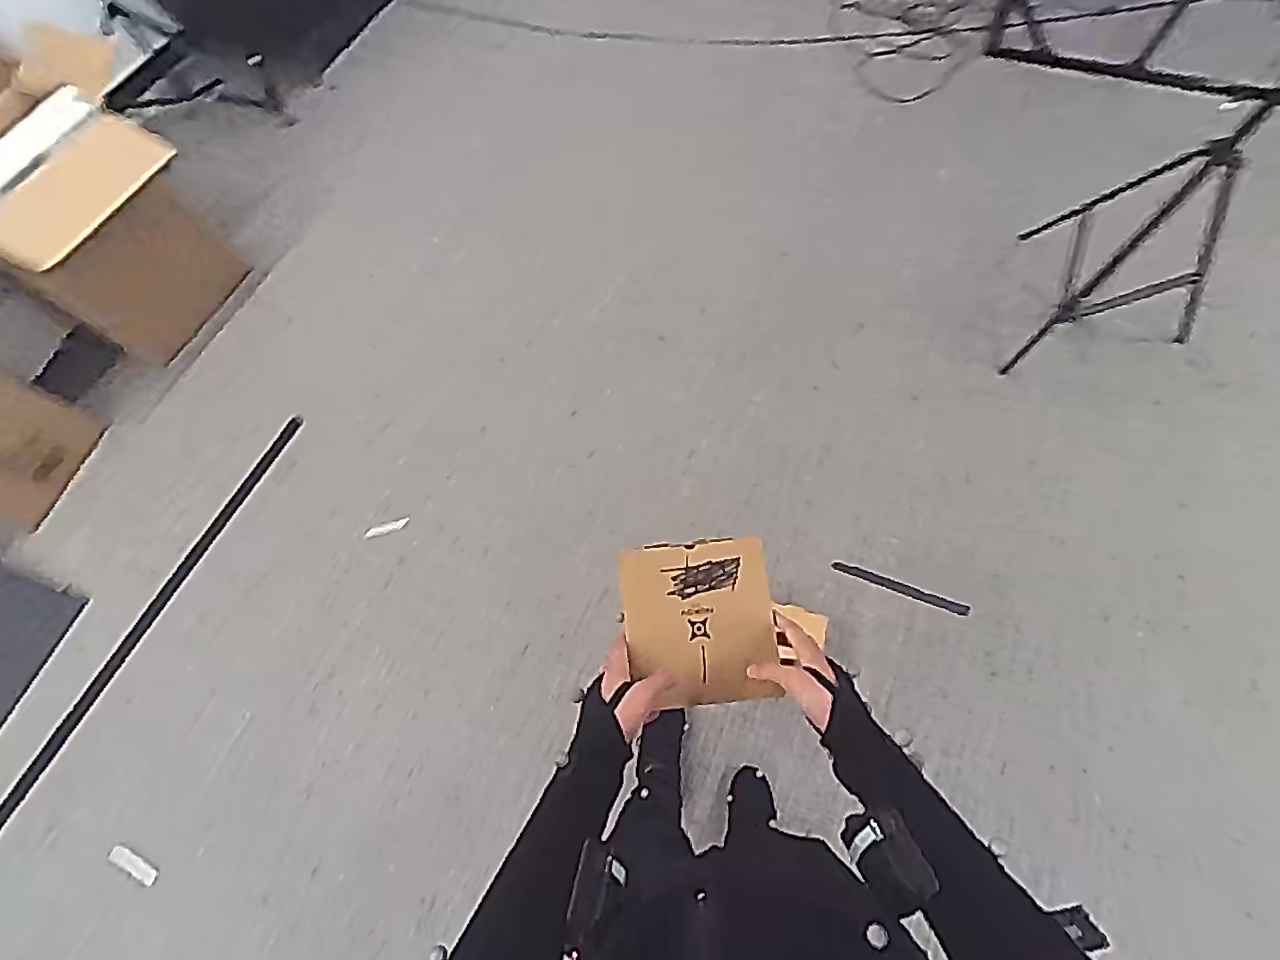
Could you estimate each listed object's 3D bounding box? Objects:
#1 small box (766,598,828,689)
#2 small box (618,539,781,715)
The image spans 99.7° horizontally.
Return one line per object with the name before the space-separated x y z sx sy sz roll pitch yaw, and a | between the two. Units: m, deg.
small box | 0.369 0.427 1.399 0.168 0.176 0.179 15 69 11
small box | 0.061 0.177 0.672 0.168 0.176 0.179 -6 77 -1
